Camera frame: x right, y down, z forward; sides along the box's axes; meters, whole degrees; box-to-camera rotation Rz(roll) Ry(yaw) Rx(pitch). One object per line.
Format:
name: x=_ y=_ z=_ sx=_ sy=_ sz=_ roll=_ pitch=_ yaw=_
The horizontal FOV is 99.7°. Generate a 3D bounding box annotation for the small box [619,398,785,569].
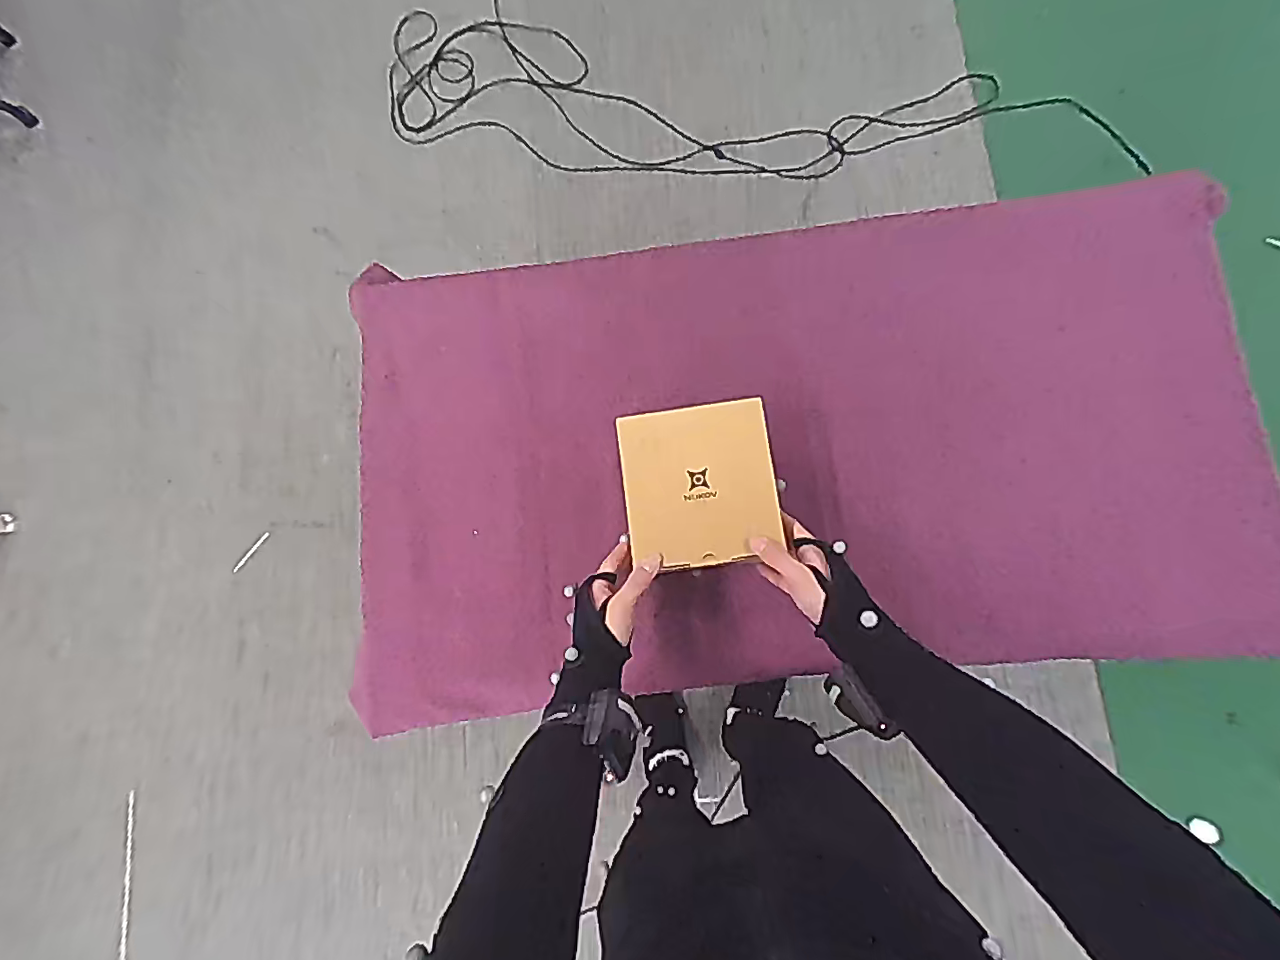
small box: x=0.069 y=0.015 z=0.666 sx=0.168 sy=0.176 sz=0.179 roll=-7 pitch=81 yaw=3
